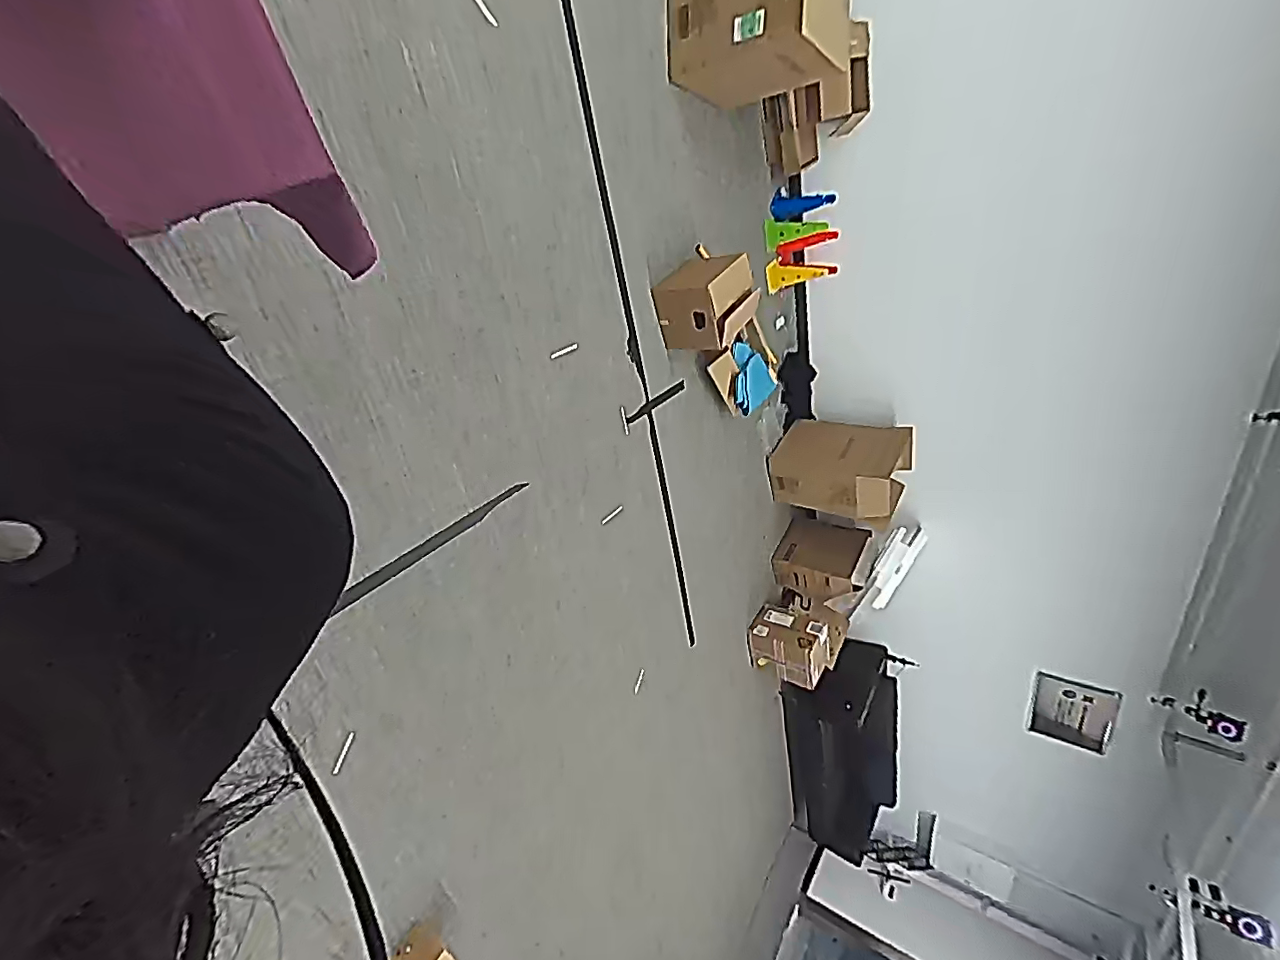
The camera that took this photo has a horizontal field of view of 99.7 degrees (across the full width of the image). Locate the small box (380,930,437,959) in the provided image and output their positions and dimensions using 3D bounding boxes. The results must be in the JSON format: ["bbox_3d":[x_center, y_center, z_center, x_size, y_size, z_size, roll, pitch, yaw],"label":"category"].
[{"bbox_3d":[-0.794,1.719,1.869,0.168,0.176,0.179,-41,128,-42],"label":"small box"}]
